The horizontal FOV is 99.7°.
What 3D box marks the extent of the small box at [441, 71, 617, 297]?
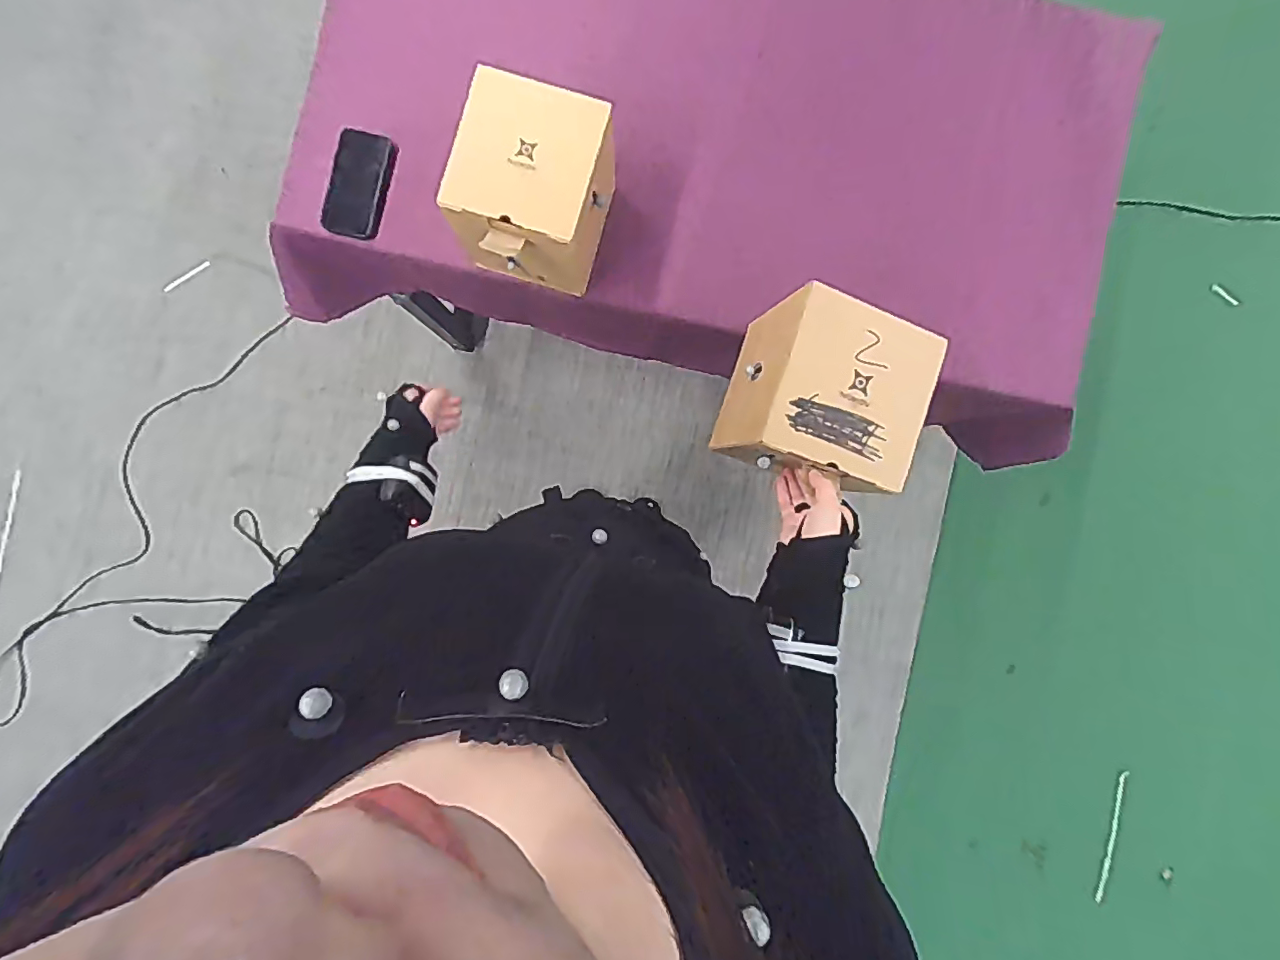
[{"bbox_3d":[-0.134,-0.371,0.711,0.168,0.176,0.179,17,88,-2],"label":"small box"}]
